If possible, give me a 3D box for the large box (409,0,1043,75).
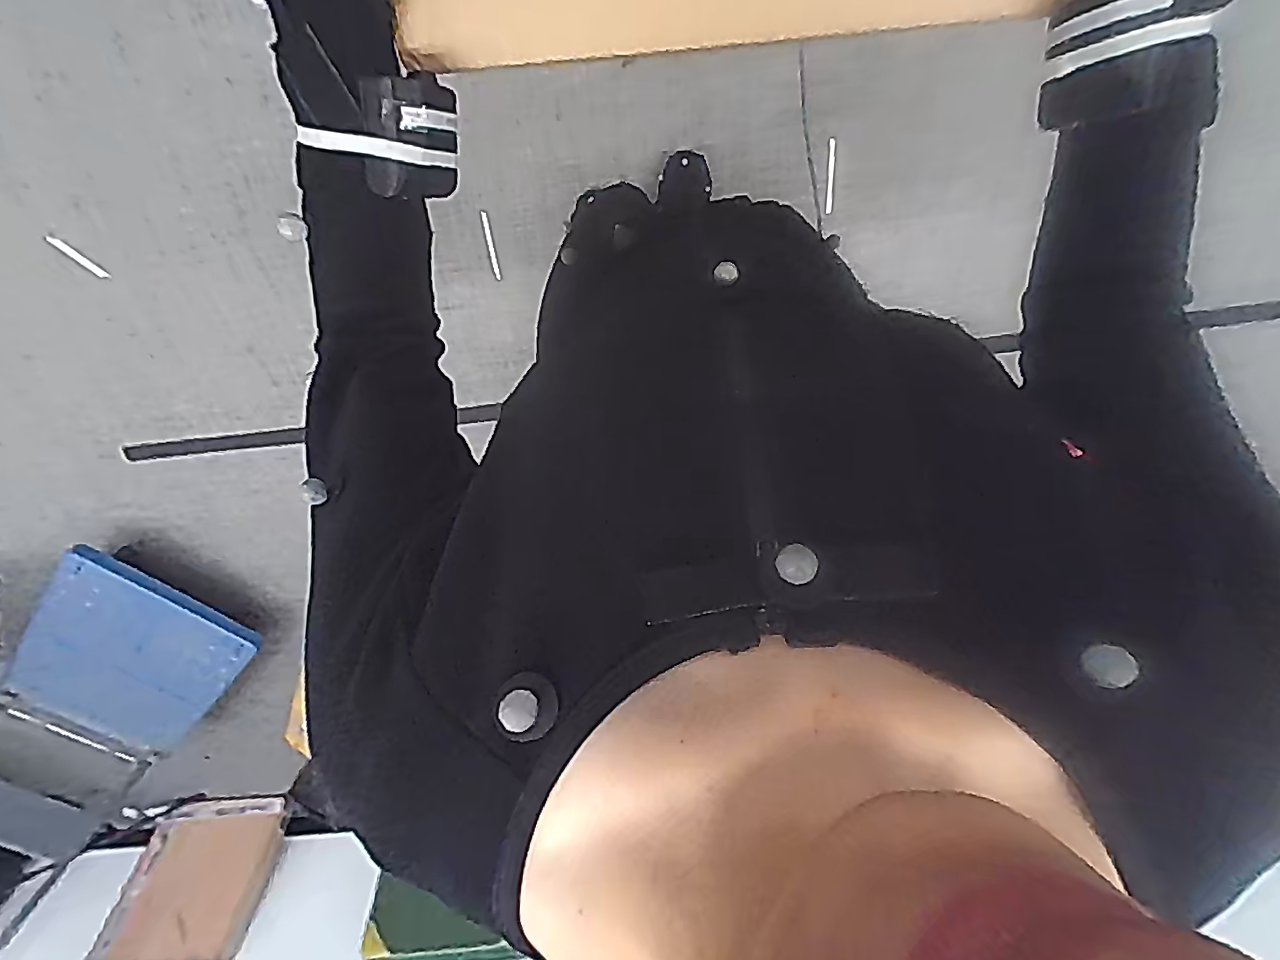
[{"bbox_3d":[0.044,-0.484,0.361,0.408,0.320,0.320,-4,127,1],"label":"large box"}]
